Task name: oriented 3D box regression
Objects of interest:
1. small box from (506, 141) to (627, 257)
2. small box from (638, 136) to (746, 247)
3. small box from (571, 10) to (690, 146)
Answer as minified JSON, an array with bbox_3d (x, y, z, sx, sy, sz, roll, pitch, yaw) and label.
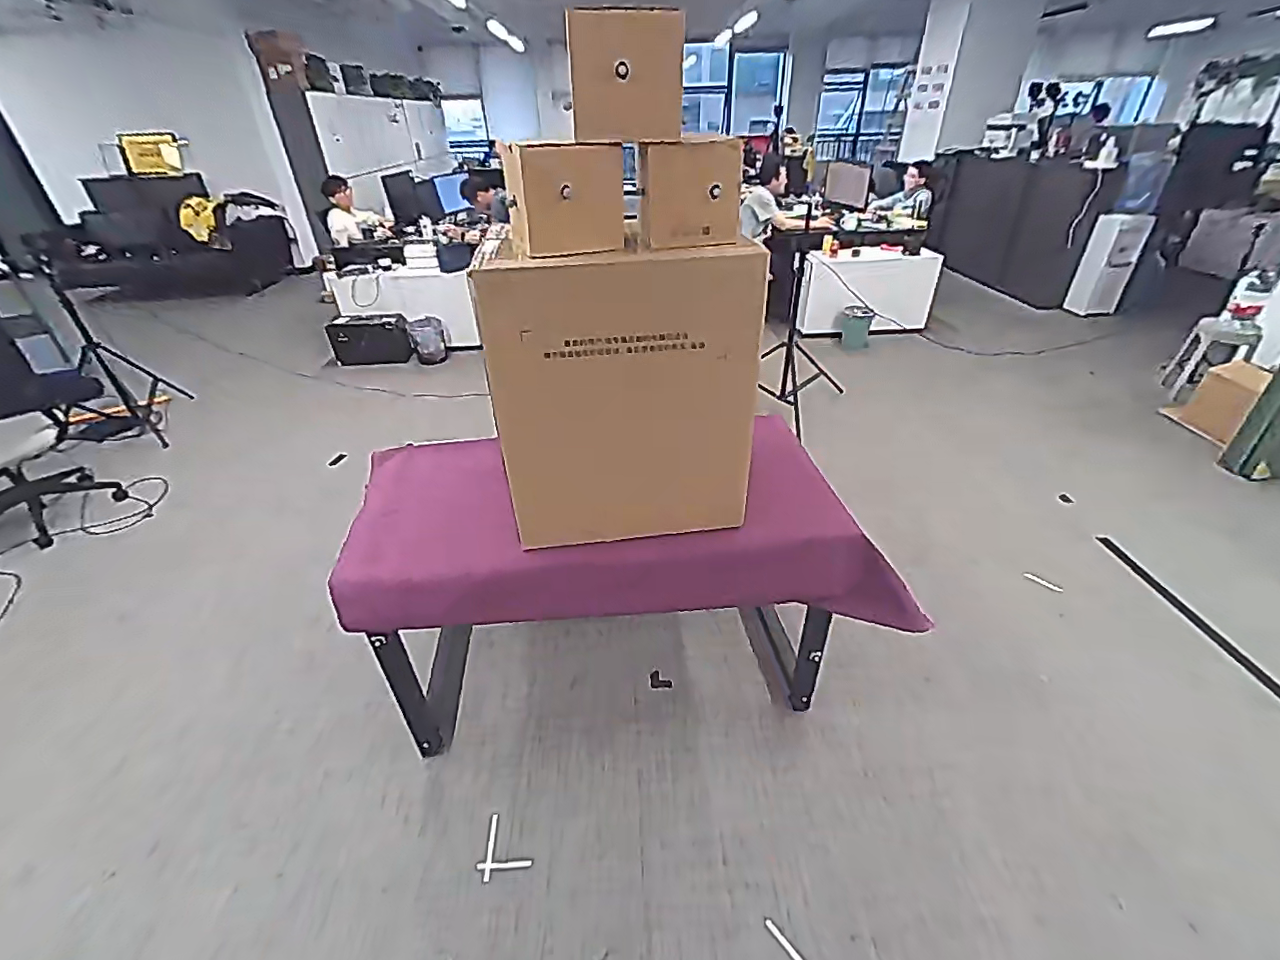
[{"bbox_3d":[-0.130,-0.507,0.974,0.179,0.176,0.168,-12,36,-18],"label":"small box"},{"bbox_3d":[0.090,-0.534,1.005,0.168,0.176,0.179,-5,34,-6],"label":"small box"},{"bbox_3d":[-0.019,-0.654,0.893,0.179,0.176,0.168,-3,34,-3],"label":"small box"}]
